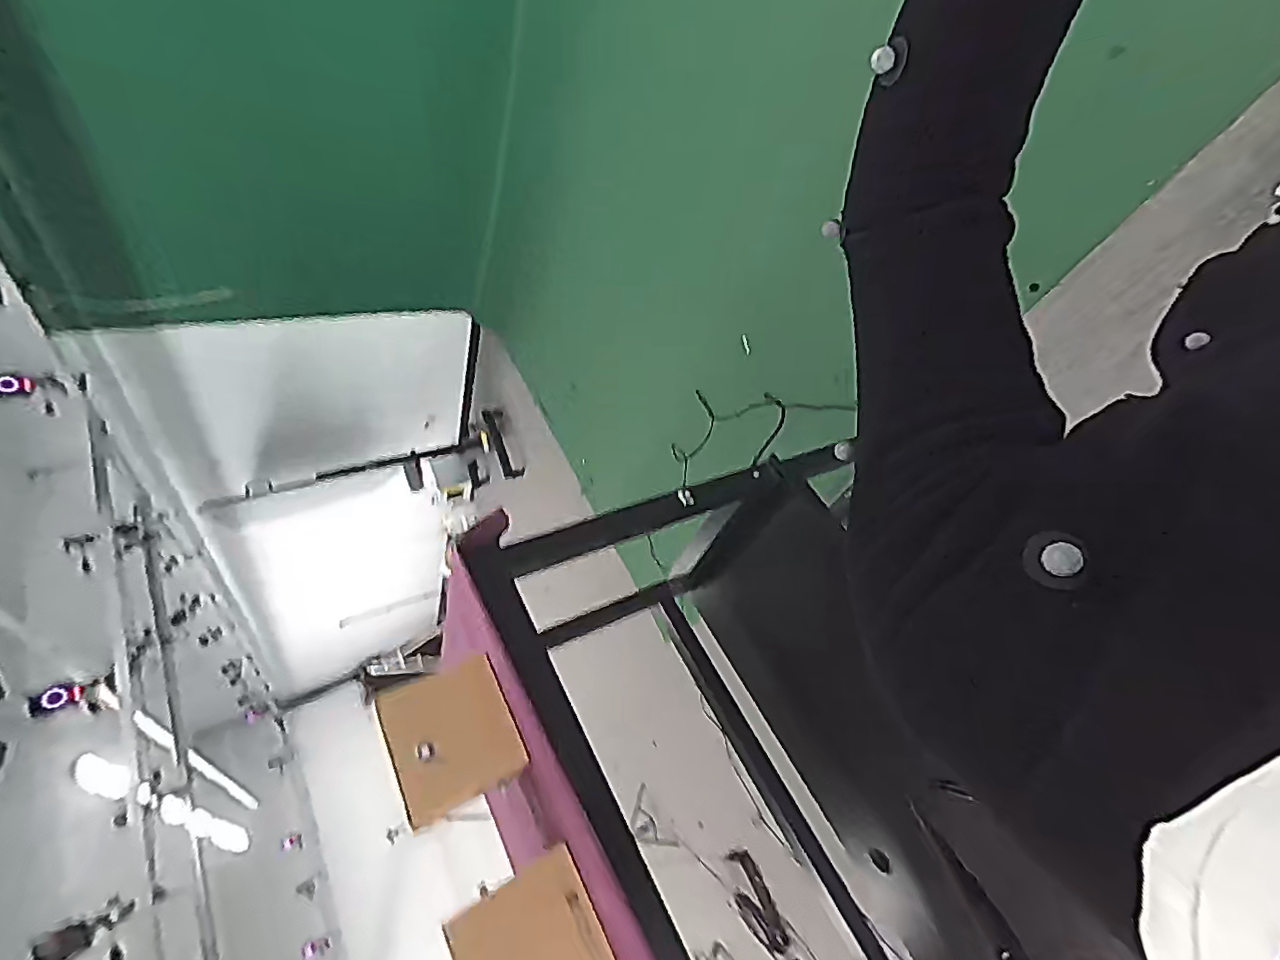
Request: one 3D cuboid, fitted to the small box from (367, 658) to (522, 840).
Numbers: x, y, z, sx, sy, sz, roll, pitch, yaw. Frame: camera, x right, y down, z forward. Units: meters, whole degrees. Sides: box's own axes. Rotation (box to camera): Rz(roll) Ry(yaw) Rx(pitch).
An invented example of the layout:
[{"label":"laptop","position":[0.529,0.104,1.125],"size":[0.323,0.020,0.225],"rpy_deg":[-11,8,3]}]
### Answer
[{"label":"small box","position":[-0.294,0.403,0.819],"size":[0.179,0.176,0.168],"rpy_deg":[58,145,24]}]
